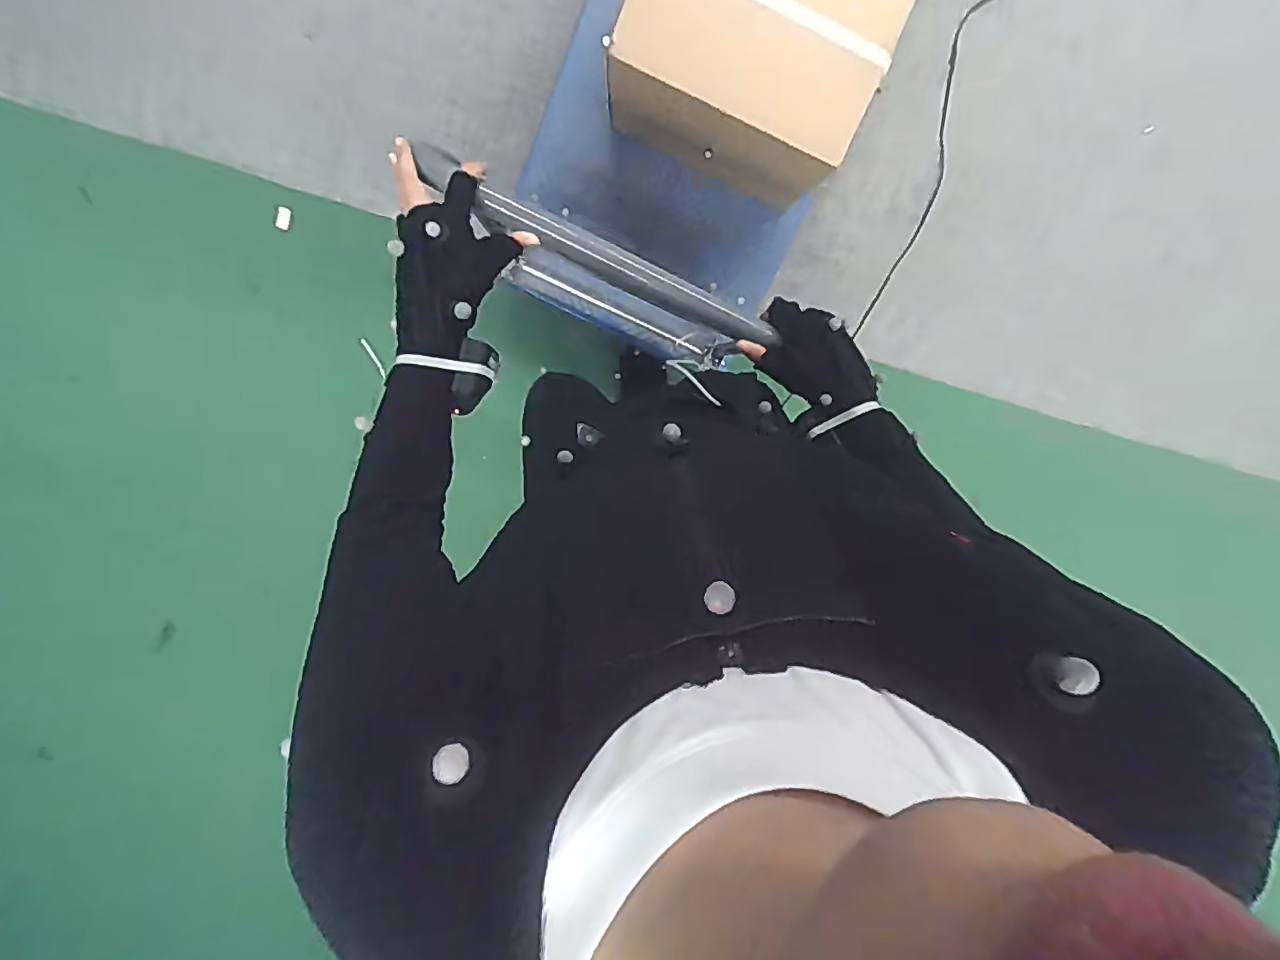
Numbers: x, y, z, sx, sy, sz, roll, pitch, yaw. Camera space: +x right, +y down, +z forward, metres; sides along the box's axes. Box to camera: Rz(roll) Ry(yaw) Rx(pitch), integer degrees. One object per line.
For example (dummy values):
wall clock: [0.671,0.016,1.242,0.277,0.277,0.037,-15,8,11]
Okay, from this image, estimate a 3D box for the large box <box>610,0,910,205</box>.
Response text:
large box: [0.192,-0.749,0.961,0.408,0.320,0.320,21,102,-6]
